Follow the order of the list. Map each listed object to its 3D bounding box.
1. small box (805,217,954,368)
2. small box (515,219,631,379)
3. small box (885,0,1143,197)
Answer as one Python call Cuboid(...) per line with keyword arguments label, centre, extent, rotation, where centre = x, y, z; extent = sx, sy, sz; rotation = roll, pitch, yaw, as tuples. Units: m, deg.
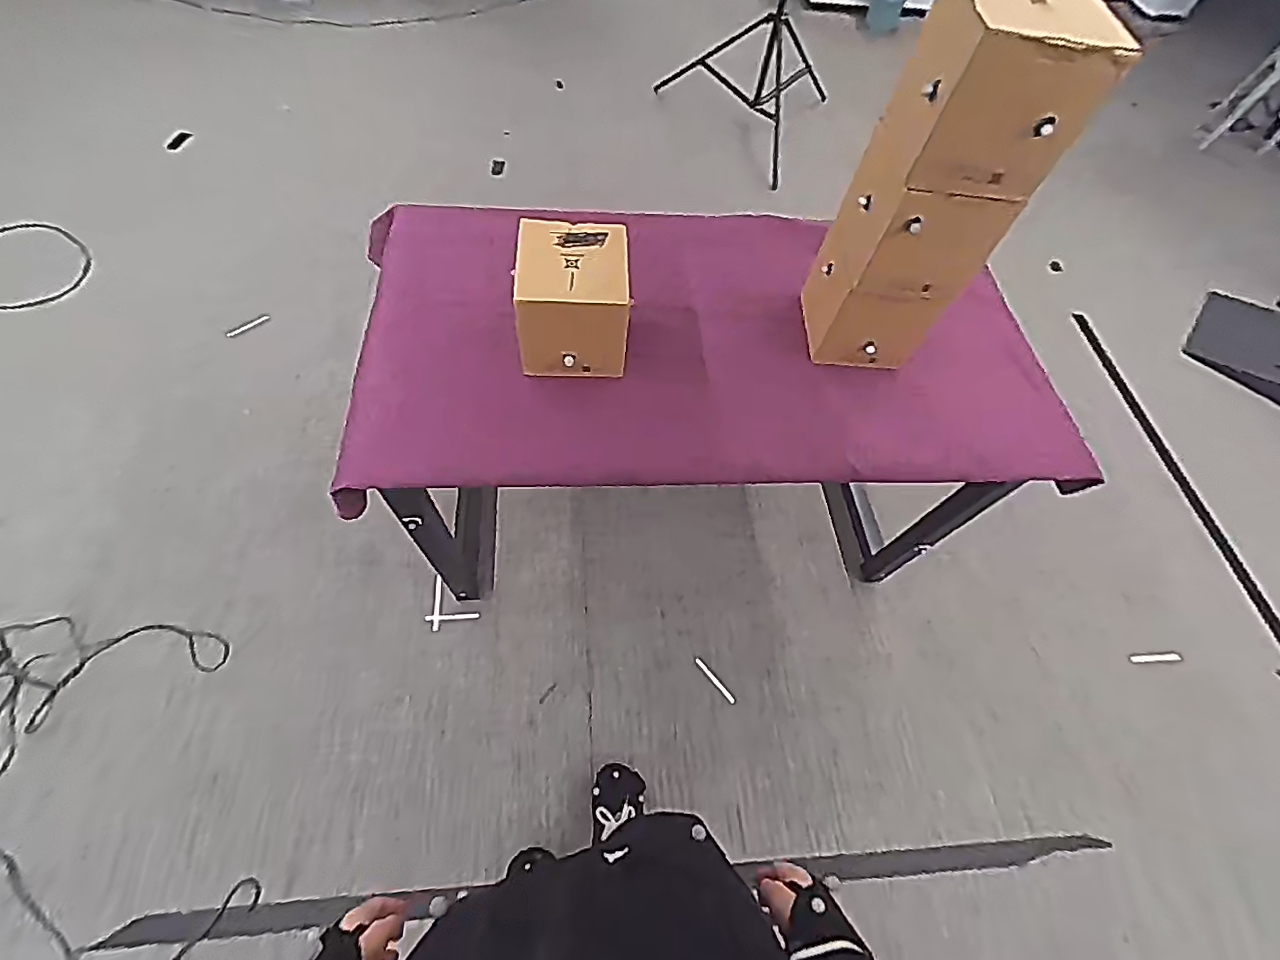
Cuboid(label="small box", centre=(0.398, -0.320, 0.936), extent=(0.168, 0.176, 0.179), rotation=(3, 61, -3))
Cuboid(label="small box", centre=(-0.104, -0.286, 0.870), extent=(0.168, 0.176, 0.179), rotation=(0, 62, -5))
Cuboid(label="small box", centre=(0.421, -0.470, 0.647), extent=(0.168, 0.176, 0.179), rotation=(5, 60, -3))
